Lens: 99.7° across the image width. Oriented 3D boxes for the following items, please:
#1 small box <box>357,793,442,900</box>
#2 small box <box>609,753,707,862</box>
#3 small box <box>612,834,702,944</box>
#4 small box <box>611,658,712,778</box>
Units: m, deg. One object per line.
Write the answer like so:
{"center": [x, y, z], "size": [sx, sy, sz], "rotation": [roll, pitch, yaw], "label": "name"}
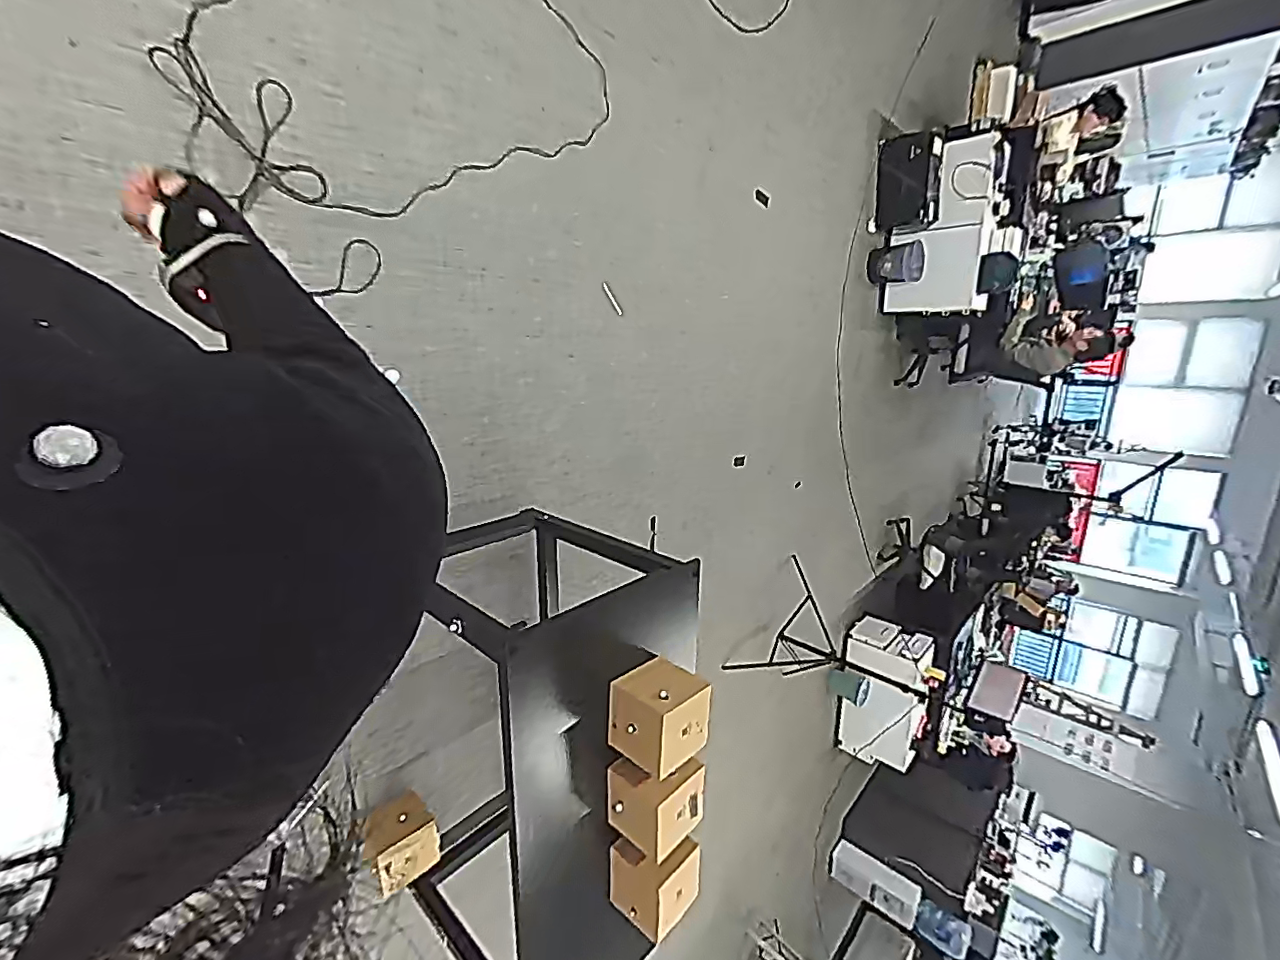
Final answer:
{"center": [-0.734, 1.106, 1.653], "size": [0.179, 0.176, 0.168], "rotation": [-16, 110, -45], "label": "small box"}
{"center": [0.043, 0.766, 1.324], "size": [0.179, 0.176, 0.168], "rotation": [-15, 110, -44], "label": "small box"}
{"center": [0.041, 1.007, 1.386], "size": [0.168, 0.176, 0.179], "rotation": [-15, 110, -46], "label": "small box"}
{"center": [0.048, 0.548, 1.272], "size": [0.179, 0.176, 0.168], "rotation": [-10, 108, -46], "label": "small box"}
